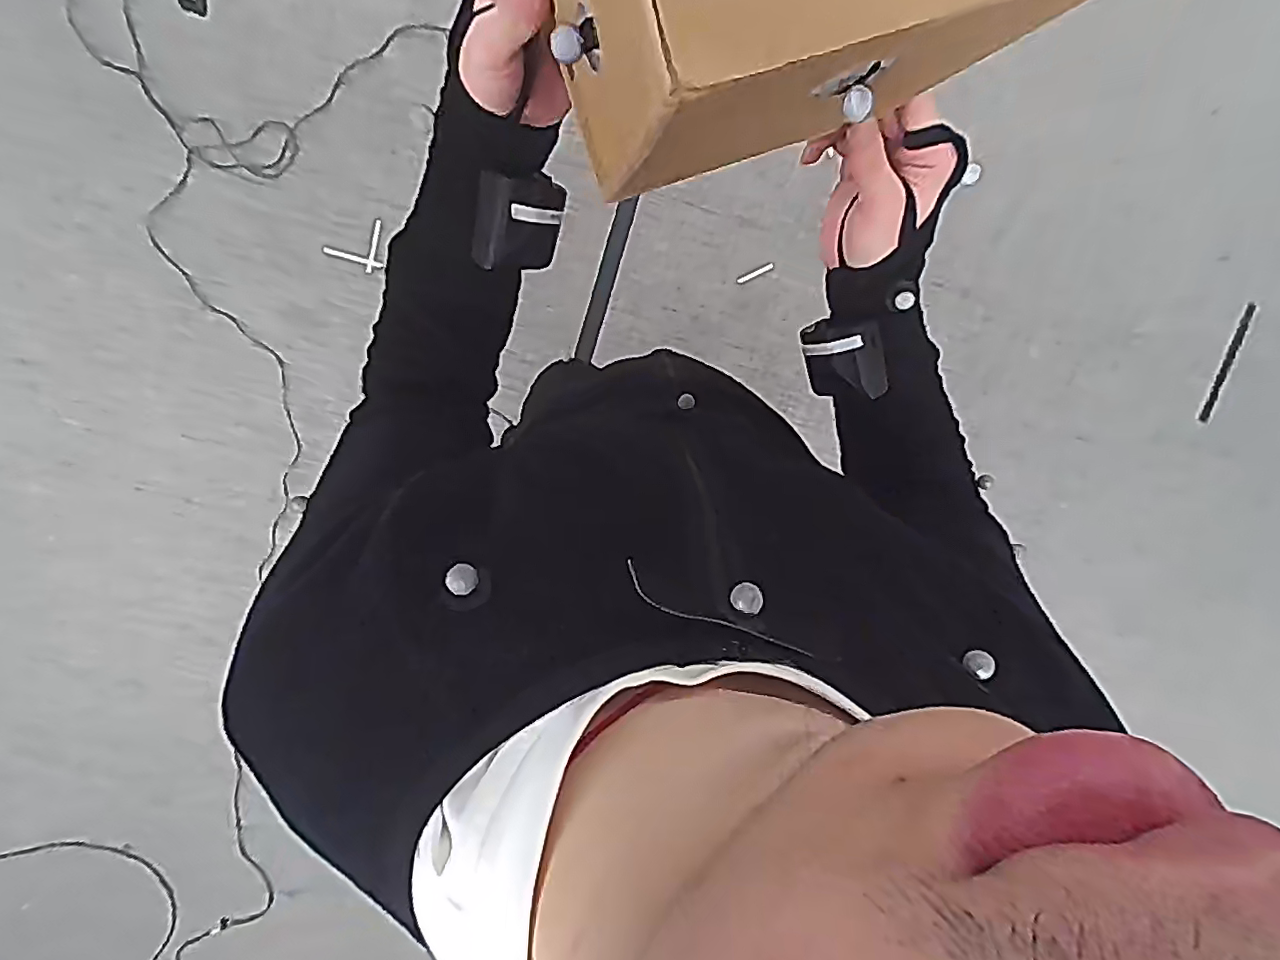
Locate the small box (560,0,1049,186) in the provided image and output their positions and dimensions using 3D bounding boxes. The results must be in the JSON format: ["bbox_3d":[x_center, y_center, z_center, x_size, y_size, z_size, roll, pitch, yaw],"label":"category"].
[{"bbox_3d":[0.053,-0.243,0.220,0.179,0.176,0.168,-21,111,-5],"label":"small box"}]
